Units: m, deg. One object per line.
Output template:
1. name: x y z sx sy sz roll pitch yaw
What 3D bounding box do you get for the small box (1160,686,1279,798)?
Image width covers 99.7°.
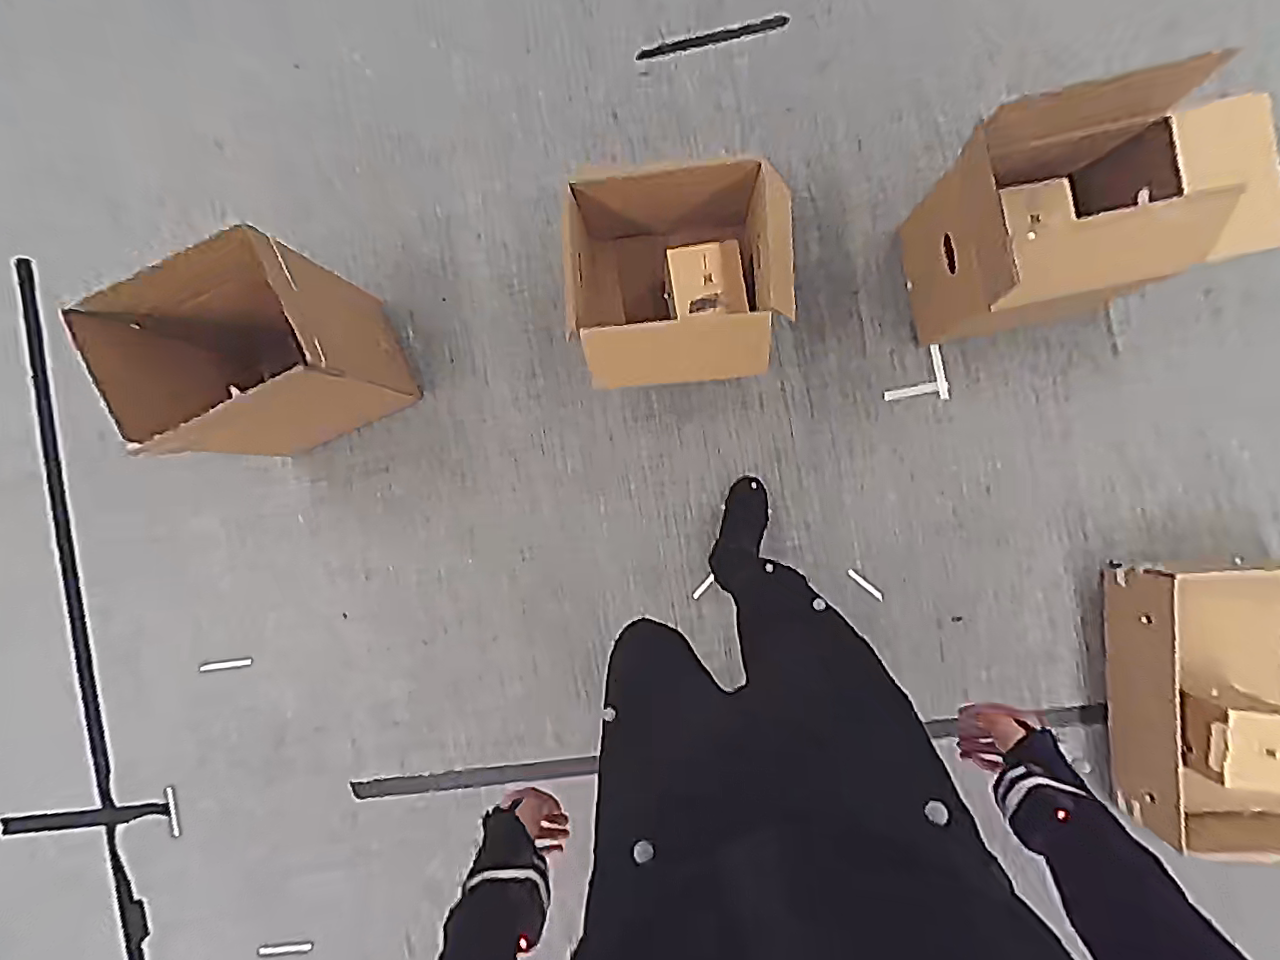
1. small box: 1.306 0.569 1.187 0.179 0.176 0.168 5 90 4
